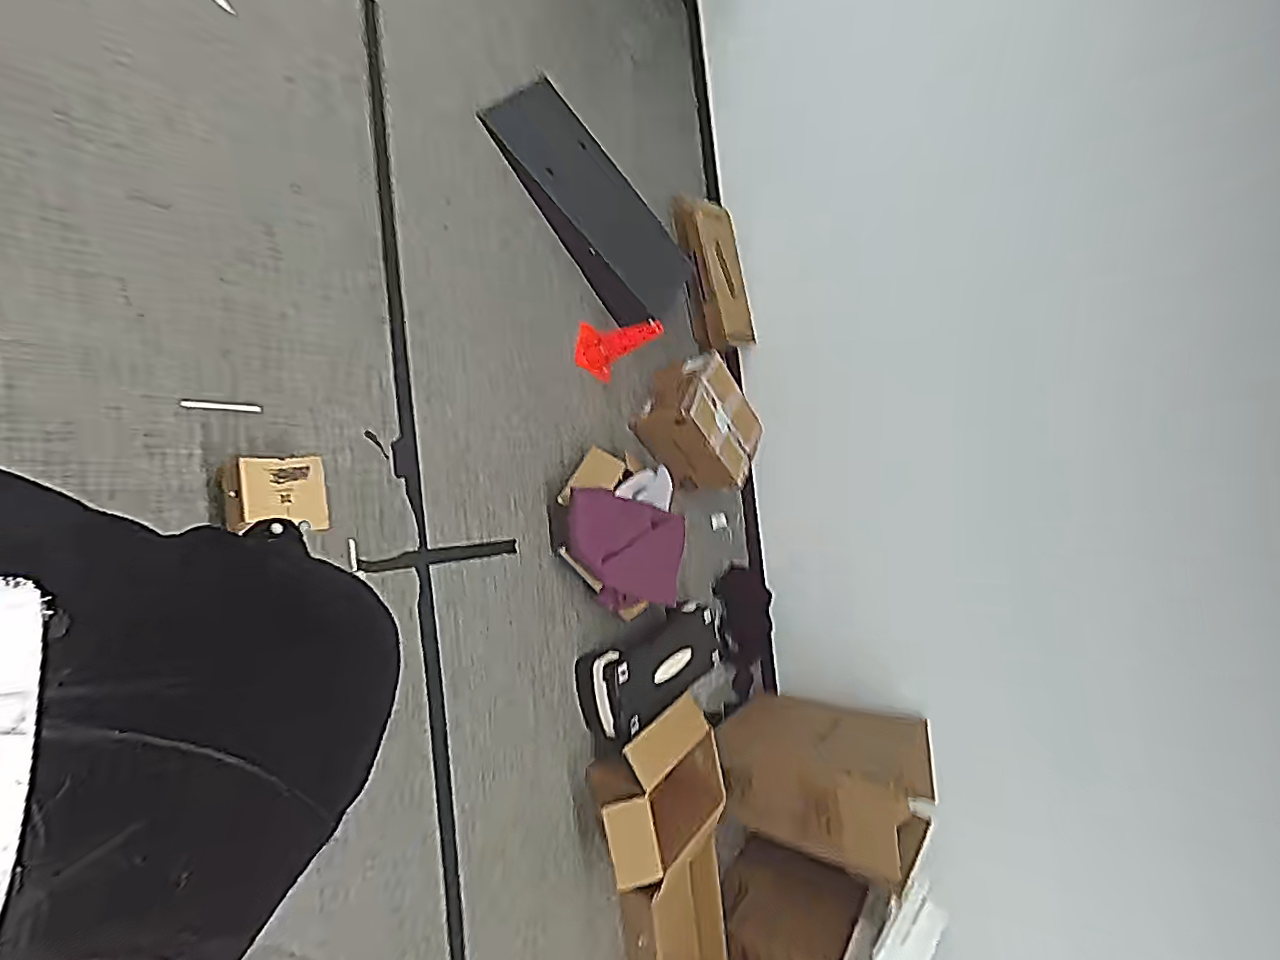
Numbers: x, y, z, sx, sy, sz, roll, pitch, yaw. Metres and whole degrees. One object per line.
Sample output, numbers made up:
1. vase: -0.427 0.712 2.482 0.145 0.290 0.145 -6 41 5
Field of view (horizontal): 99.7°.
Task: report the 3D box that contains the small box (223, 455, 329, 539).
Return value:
1. small box: -0.858 0.041 1.271 0.168 0.176 0.179 -5 88 -49
